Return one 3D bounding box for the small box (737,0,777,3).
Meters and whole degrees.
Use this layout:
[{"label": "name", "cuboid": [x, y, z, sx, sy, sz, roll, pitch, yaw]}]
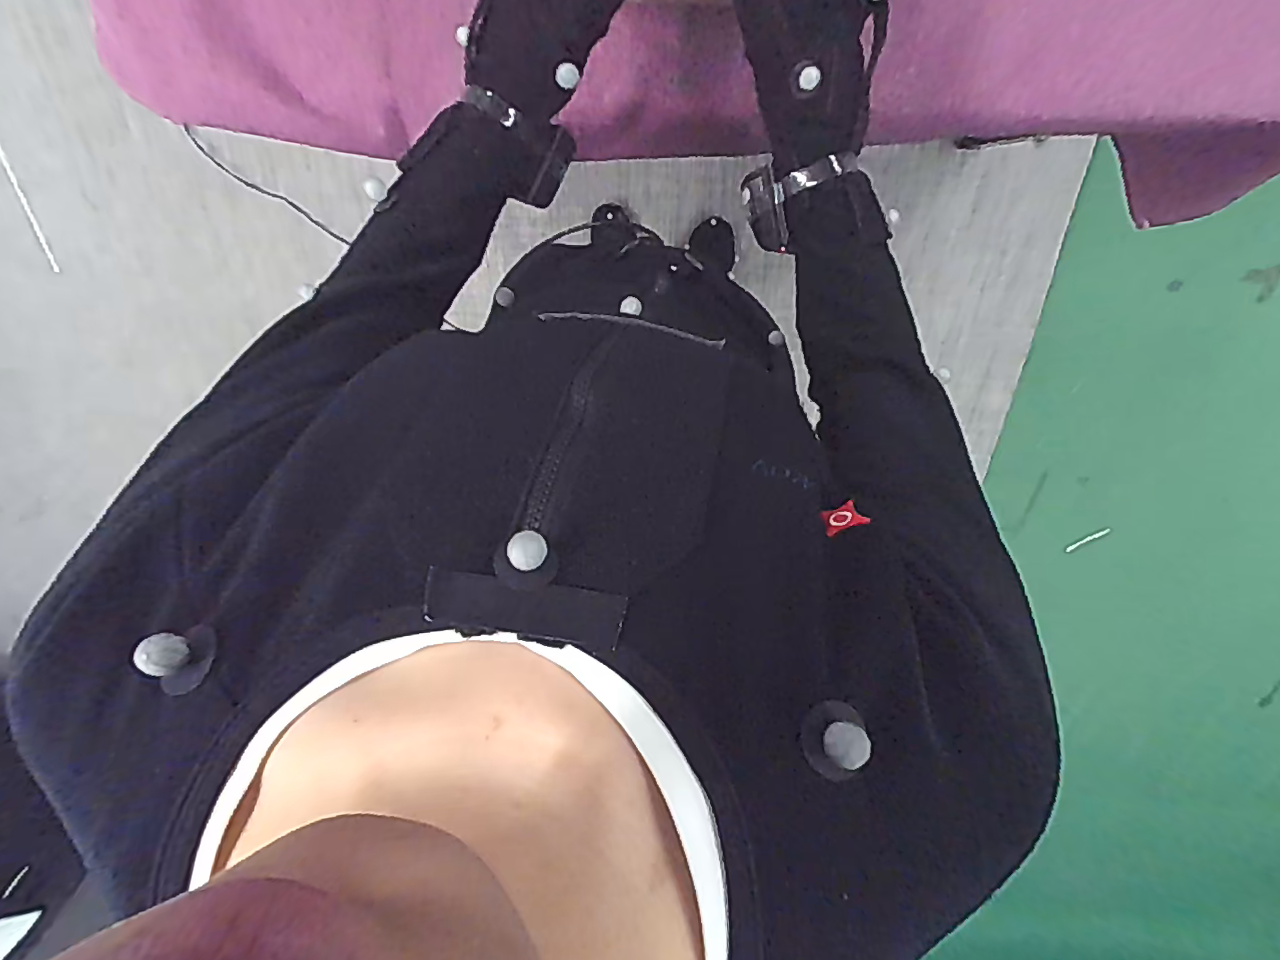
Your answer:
[{"label": "small box", "cuboid": [0.055, -0.490, 0.401, 0.168, 0.176, 0.179, 5, 118, 2]}]
